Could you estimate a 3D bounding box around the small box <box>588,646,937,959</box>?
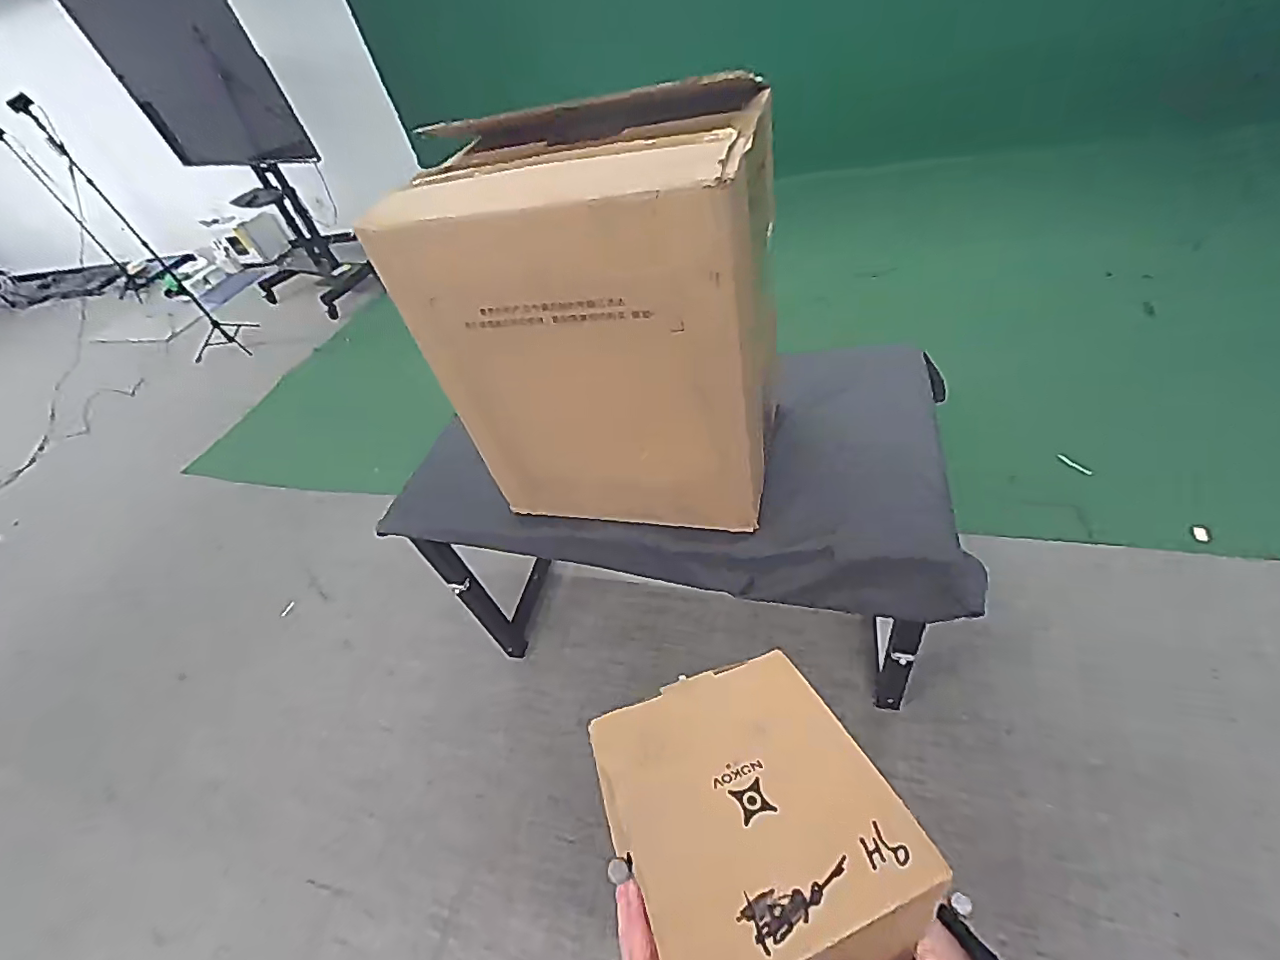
[{"bbox_3d":[0.071,0.263,0.395,0.168,0.176,0.179,-16,34,-15],"label":"small box"}]
